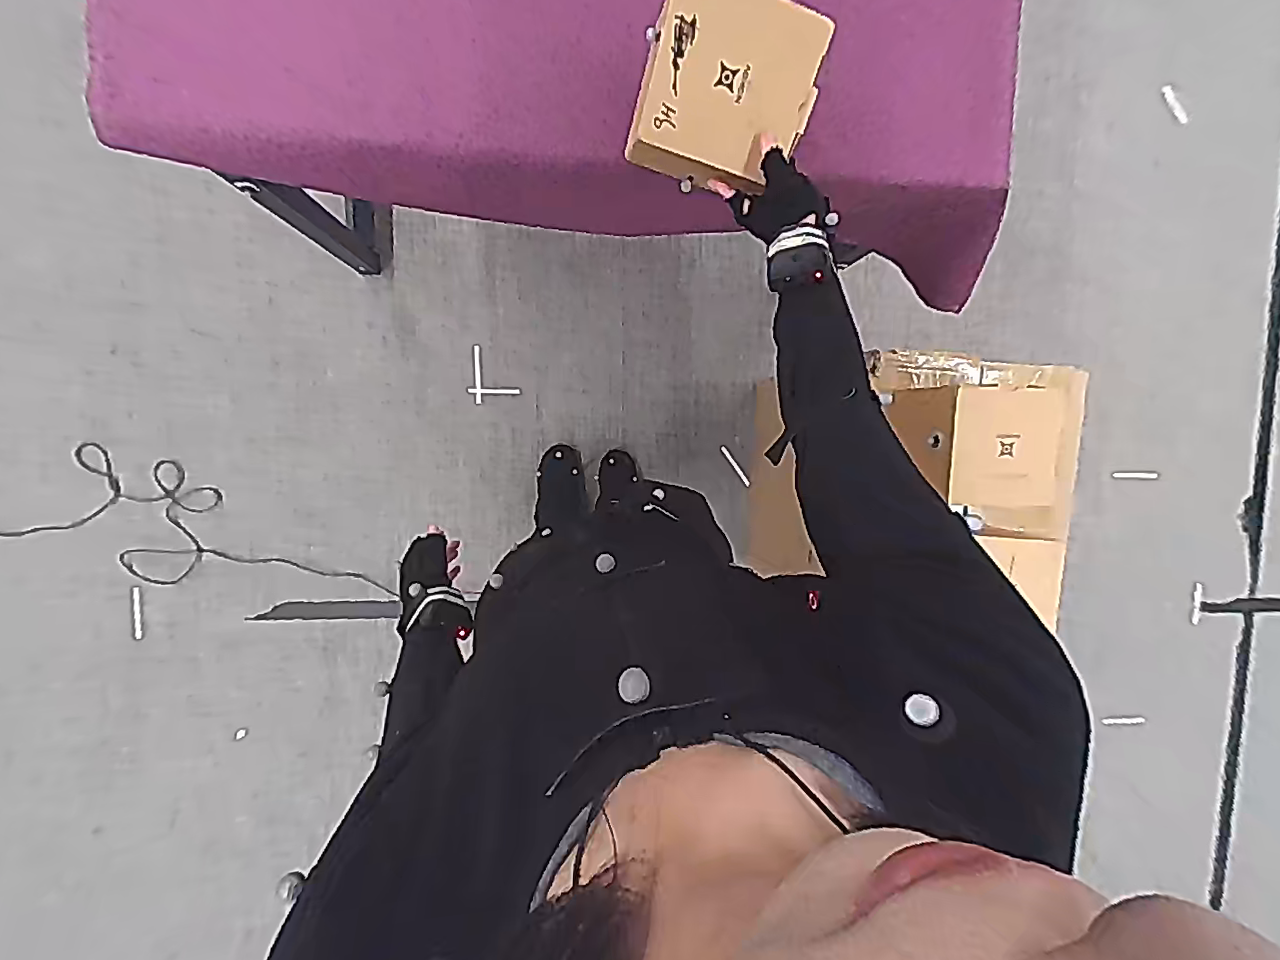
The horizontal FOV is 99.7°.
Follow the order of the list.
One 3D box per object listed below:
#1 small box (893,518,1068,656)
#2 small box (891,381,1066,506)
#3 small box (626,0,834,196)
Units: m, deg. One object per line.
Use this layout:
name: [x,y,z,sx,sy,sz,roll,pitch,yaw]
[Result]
small box: [0.532,0.164,0.869,0.168,0.176,0.179,4,92,-5]
small box: [0.518,-0.058,0.851,0.168,0.176,0.179,1,96,-4]
small box: [0.093,-0.458,0.653,0.179,0.176,0.168,13,111,-12]
